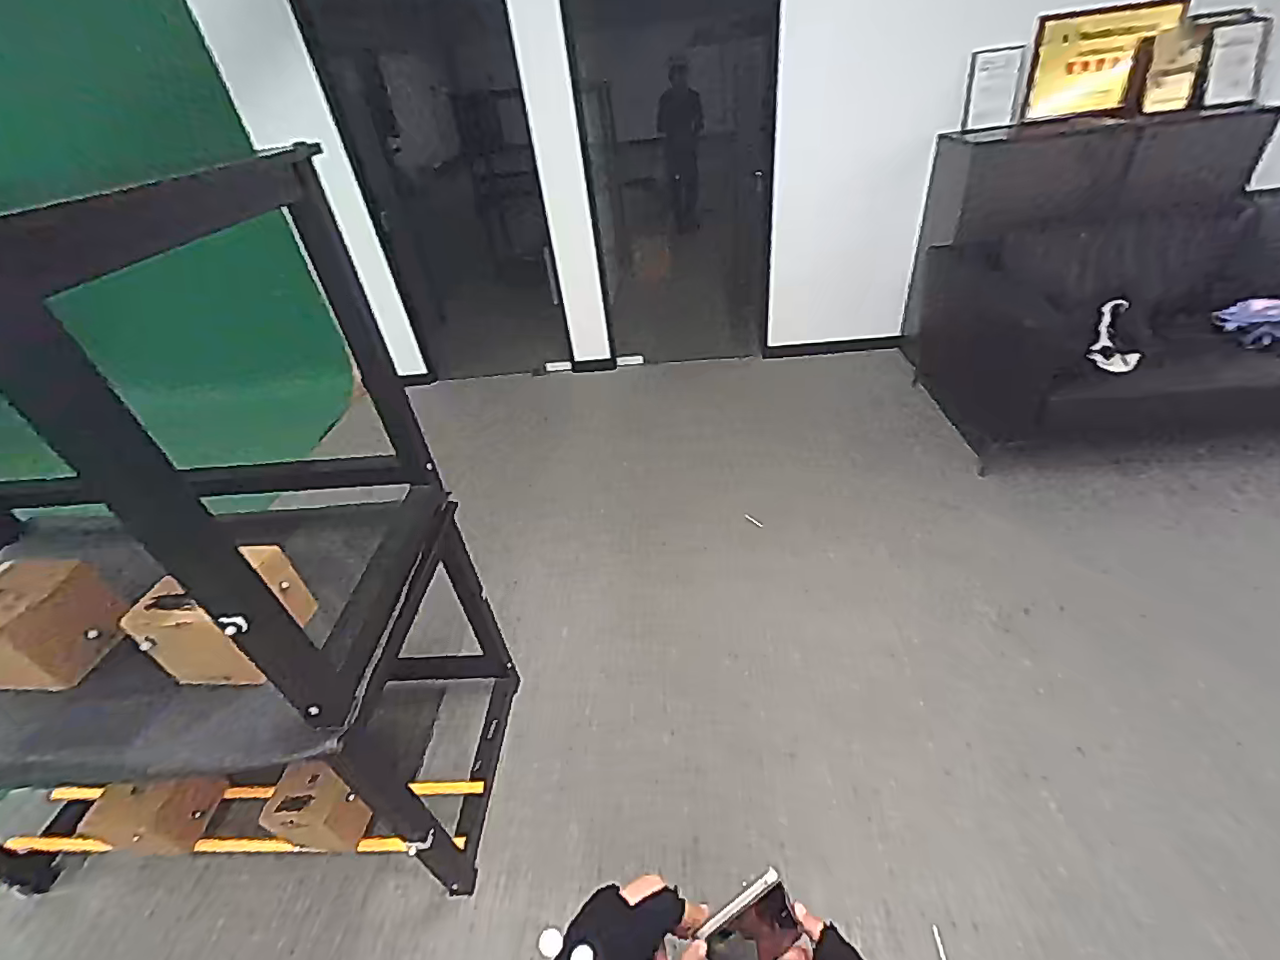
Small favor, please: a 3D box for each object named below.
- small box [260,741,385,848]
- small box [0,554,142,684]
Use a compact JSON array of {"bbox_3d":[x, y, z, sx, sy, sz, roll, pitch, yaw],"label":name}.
[{"bbox_3d":[-0.748,0.758,1.301,0.168,0.176,0.179,-1,38,8],"label":"small box"},{"bbox_3d":[-1.095,0.254,0.988,0.179,0.176,0.168,-2,38,8],"label":"small box"}]
